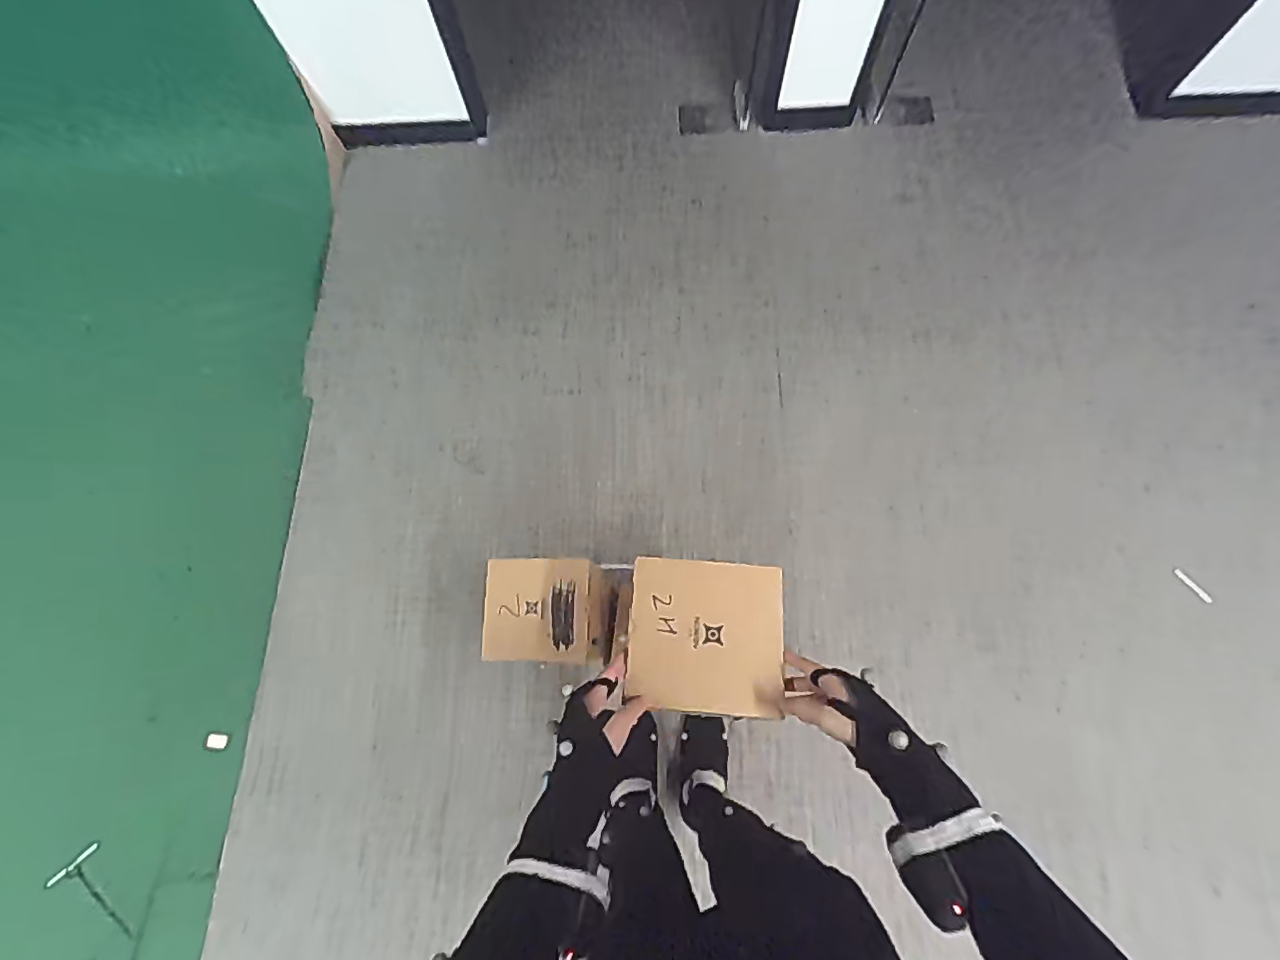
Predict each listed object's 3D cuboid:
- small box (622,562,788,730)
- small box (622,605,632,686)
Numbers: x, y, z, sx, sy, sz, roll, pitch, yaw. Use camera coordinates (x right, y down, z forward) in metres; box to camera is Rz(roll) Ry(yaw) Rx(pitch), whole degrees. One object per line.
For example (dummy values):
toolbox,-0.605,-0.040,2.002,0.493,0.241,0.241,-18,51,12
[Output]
small box,0.076,0.208,0.668,0.179,0.176,0.168,4,66,4
small box,0.047,0.384,1.249,0.168,0.176,0.179,0,74,3
